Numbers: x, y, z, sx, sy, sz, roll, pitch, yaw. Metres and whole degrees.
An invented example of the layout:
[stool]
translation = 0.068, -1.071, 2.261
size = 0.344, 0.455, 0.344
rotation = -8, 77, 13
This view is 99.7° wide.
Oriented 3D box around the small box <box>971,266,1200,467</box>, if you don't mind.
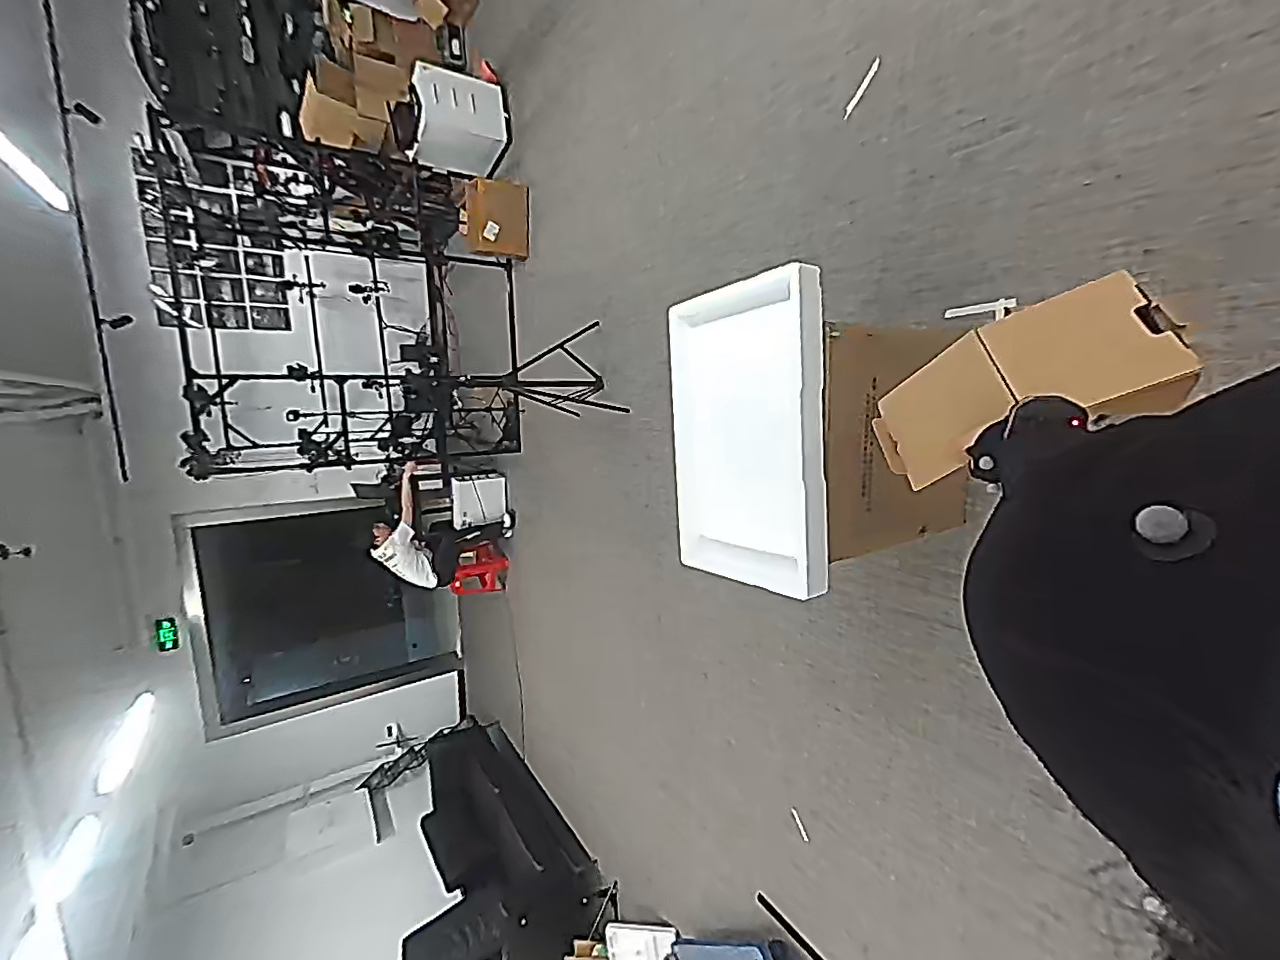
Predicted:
[small box]
translation = 0.572, -0.138, 0.725
size = 0.179, 0.176, 0.168
rotation = -21, 60, 22
